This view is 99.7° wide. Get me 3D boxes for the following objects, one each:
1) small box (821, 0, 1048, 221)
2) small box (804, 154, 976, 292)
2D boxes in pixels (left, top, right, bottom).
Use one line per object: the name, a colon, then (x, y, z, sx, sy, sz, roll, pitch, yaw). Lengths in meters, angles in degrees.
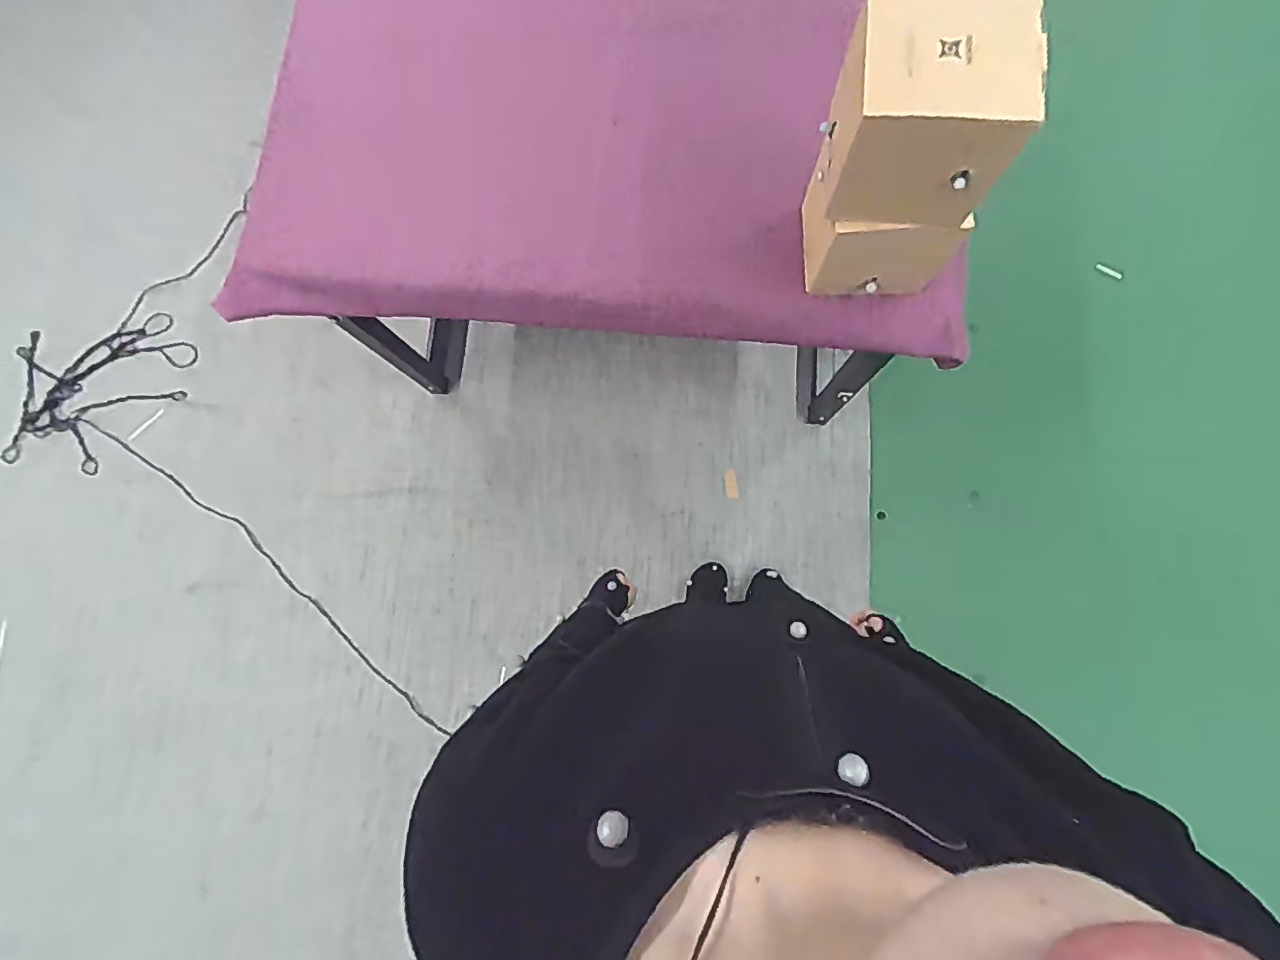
small box: (0.322, -0.422, 0.620, 0.179, 0.176, 0.168, 6, 81, 6)
small box: (0.345, -0.387, 0.779, 0.179, 0.176, 0.168, 0, 80, 4)
